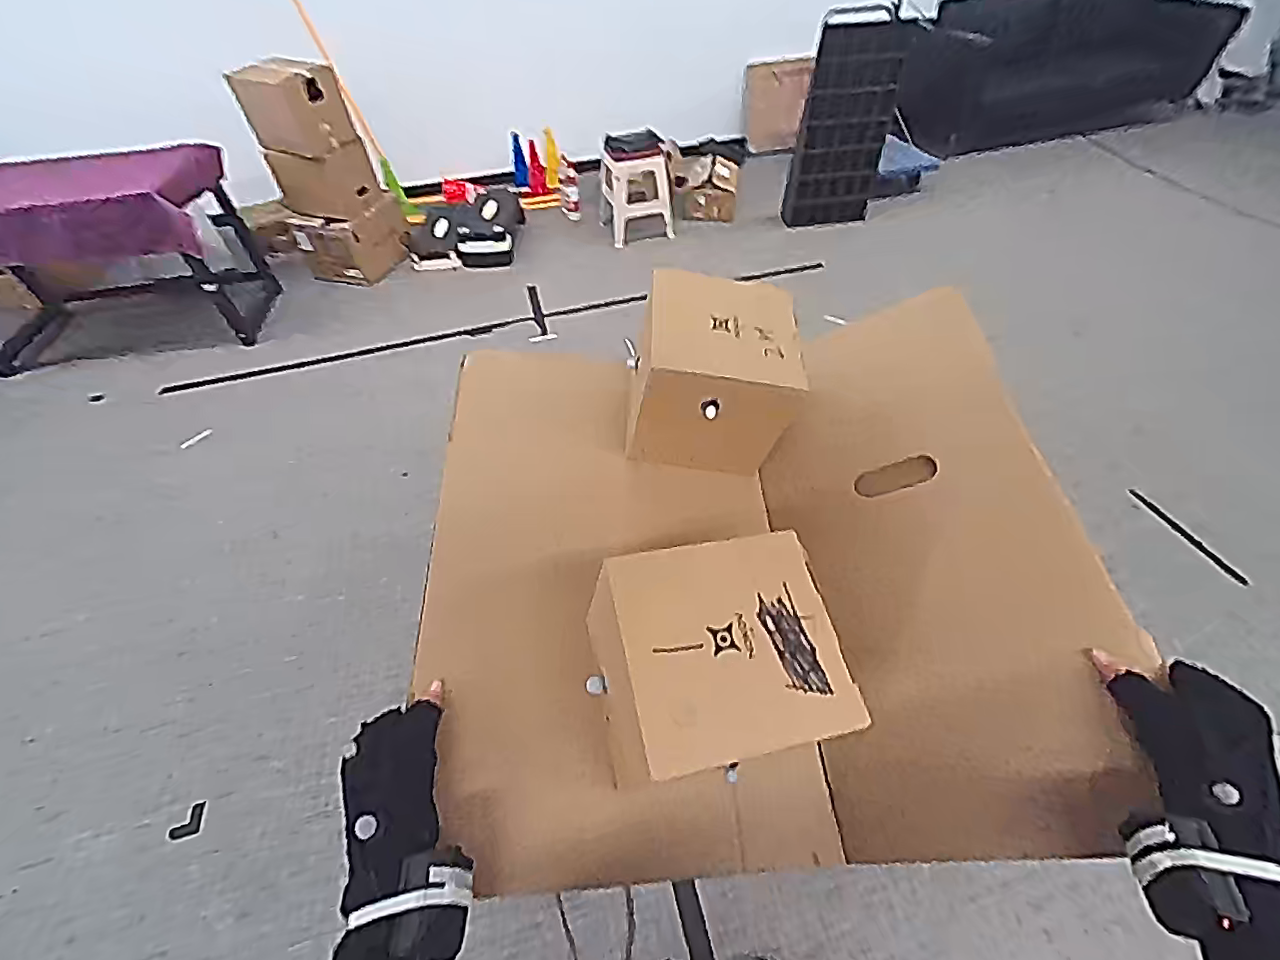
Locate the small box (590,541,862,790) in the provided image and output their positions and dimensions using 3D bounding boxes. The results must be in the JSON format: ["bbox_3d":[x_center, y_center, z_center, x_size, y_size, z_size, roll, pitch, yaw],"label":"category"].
[{"bbox_3d":[0.059,0.173,0.497,0.179,0.176,0.168,-7,60,-15],"label":"small box"}]

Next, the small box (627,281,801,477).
[{"bbox_3d":[0.081,-0.120,0.686,0.179,0.176,0.168,7,57,-7],"label":"small box"}]
